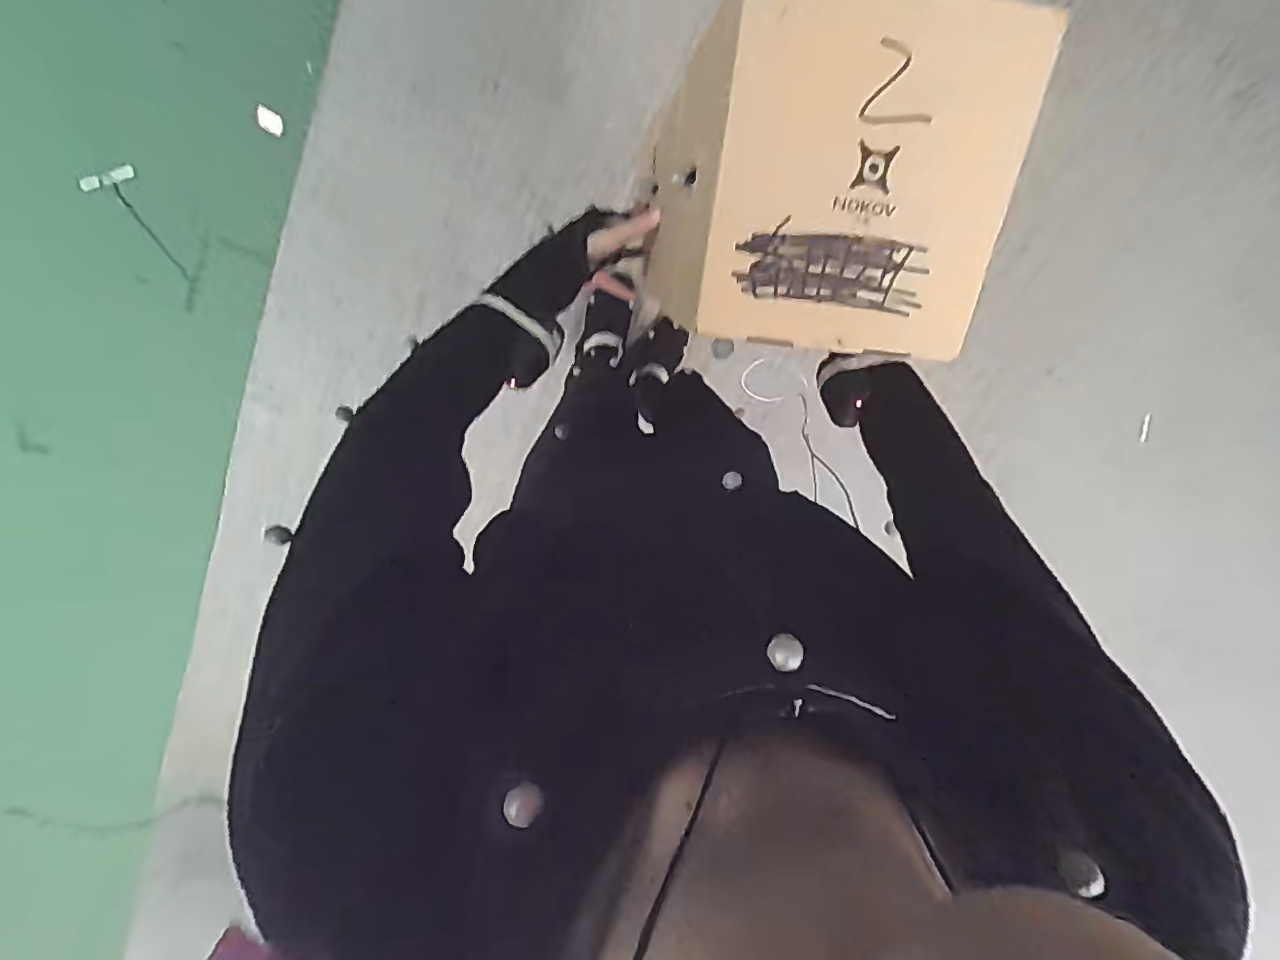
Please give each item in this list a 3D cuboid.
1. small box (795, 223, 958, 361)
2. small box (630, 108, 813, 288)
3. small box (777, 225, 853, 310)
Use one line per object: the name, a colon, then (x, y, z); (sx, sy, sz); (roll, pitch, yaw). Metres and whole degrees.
small box: (0.411, -0.338, 0.974); (0.179, 0.176, 0.168); (23, 110, -15)
small box: (0.085, -0.333, 0.663); (0.179, 0.176, 0.168); (1, 112, -6)
small box: (0.416, -0.410, 1.122); (0.179, 0.176, 0.168); (22, 110, -12)
